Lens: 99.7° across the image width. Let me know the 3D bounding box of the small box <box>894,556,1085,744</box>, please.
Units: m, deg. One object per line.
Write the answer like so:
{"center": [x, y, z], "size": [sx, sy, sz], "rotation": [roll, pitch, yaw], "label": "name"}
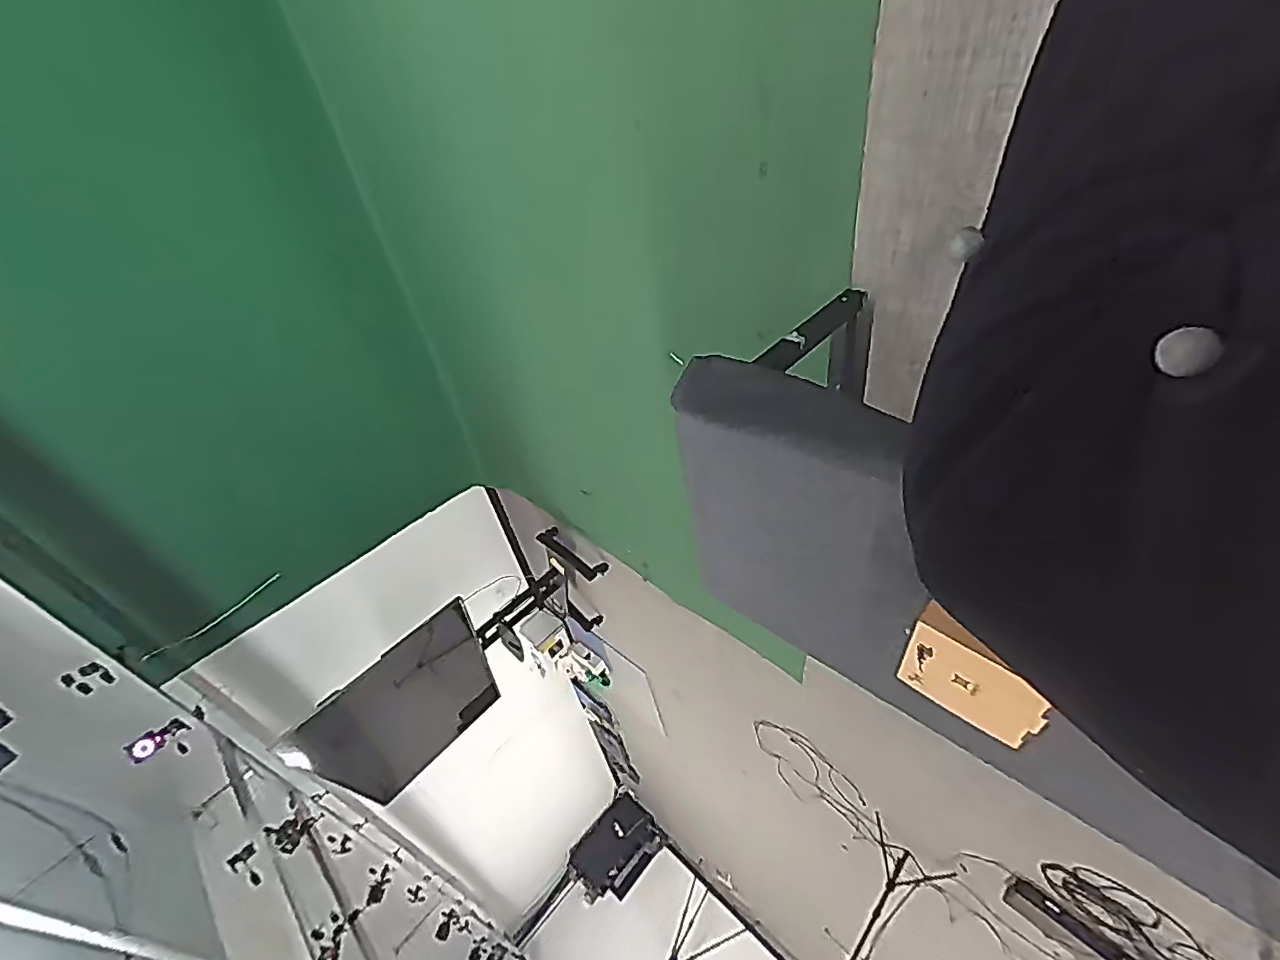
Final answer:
{"center": [0.518, 0.244, 0.810], "size": [0.179, 0.176, 0.168], "rotation": [29, 145, 35], "label": "small box"}
